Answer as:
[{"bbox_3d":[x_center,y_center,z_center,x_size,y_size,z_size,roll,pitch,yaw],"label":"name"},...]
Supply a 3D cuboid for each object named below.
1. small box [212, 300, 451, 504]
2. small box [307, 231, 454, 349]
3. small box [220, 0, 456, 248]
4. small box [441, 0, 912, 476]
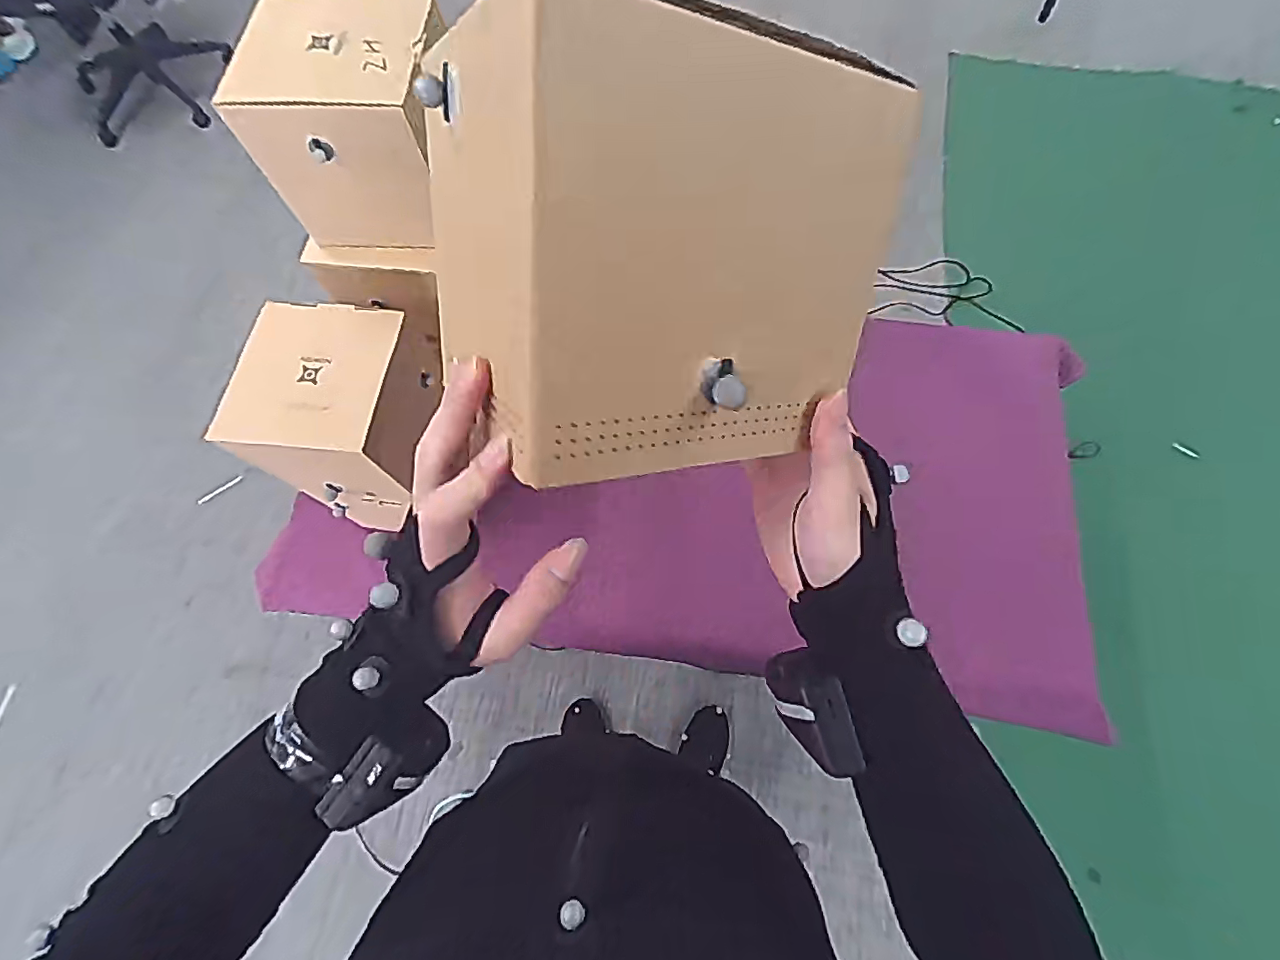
[{"bbox_3d":[-0.345,-0.086,0.650,0.168,0.176,0.179,6,69,3],"label":"small box"},{"bbox_3d":[-0.300,-0.295,0.730,0.168,0.176,0.179,5,69,2],"label":"small box"},{"bbox_3d":[-0.286,-0.375,0.584,0.179,0.176,0.168,2,69,1],"label":"small box"},{"bbox_3d":[-0.001,-0.113,0.290,0.179,0.176,0.168,-7,27,-27],"label":"small box"}]
